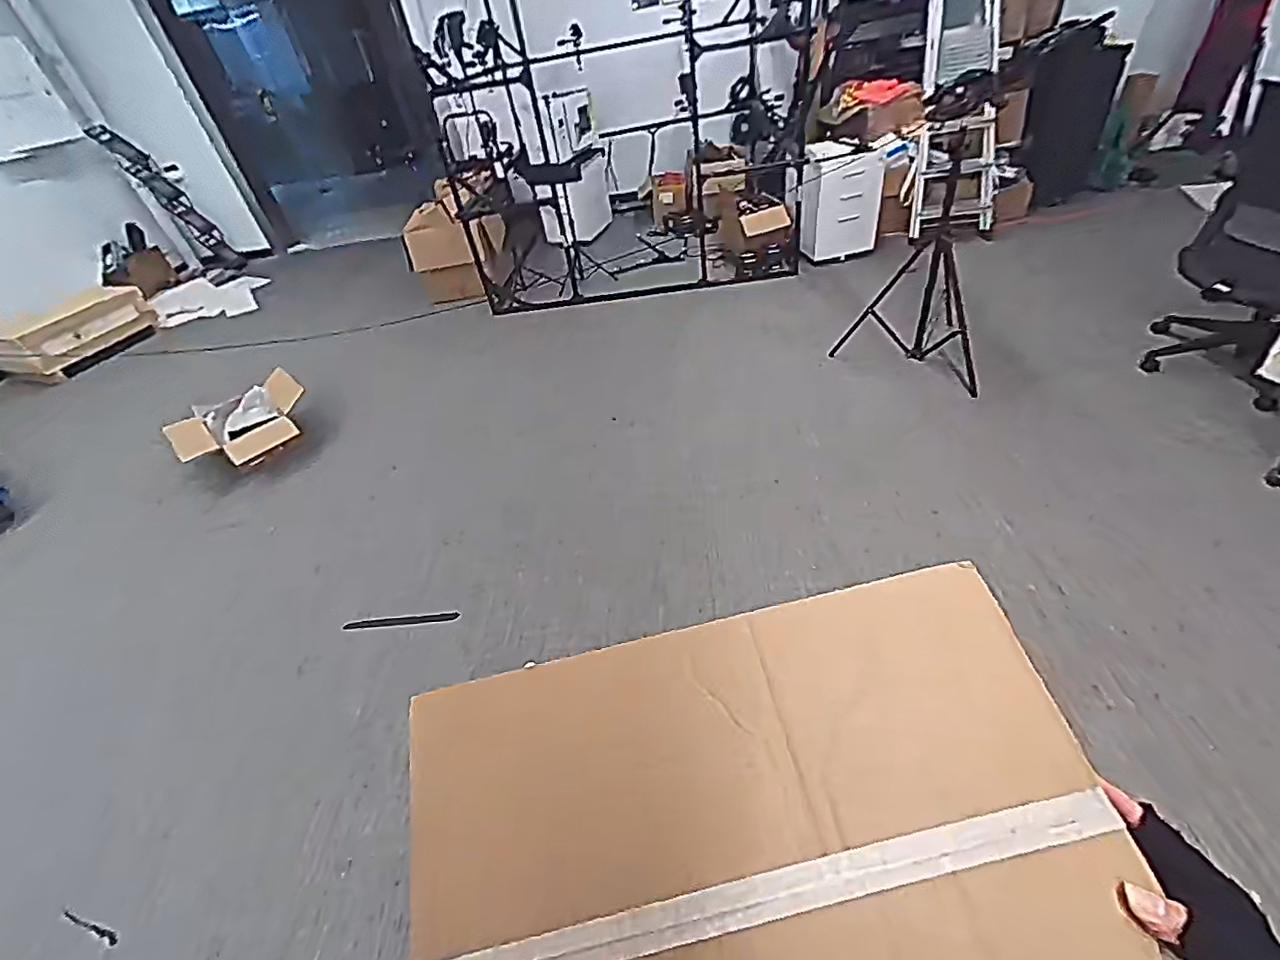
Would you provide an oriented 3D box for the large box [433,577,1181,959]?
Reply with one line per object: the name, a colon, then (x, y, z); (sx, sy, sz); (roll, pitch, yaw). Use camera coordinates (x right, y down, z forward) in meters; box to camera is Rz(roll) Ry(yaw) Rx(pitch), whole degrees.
large box: (0.092, 0.320, 0.441); (0.408, 0.320, 0.320); (-14, 61, -1)
